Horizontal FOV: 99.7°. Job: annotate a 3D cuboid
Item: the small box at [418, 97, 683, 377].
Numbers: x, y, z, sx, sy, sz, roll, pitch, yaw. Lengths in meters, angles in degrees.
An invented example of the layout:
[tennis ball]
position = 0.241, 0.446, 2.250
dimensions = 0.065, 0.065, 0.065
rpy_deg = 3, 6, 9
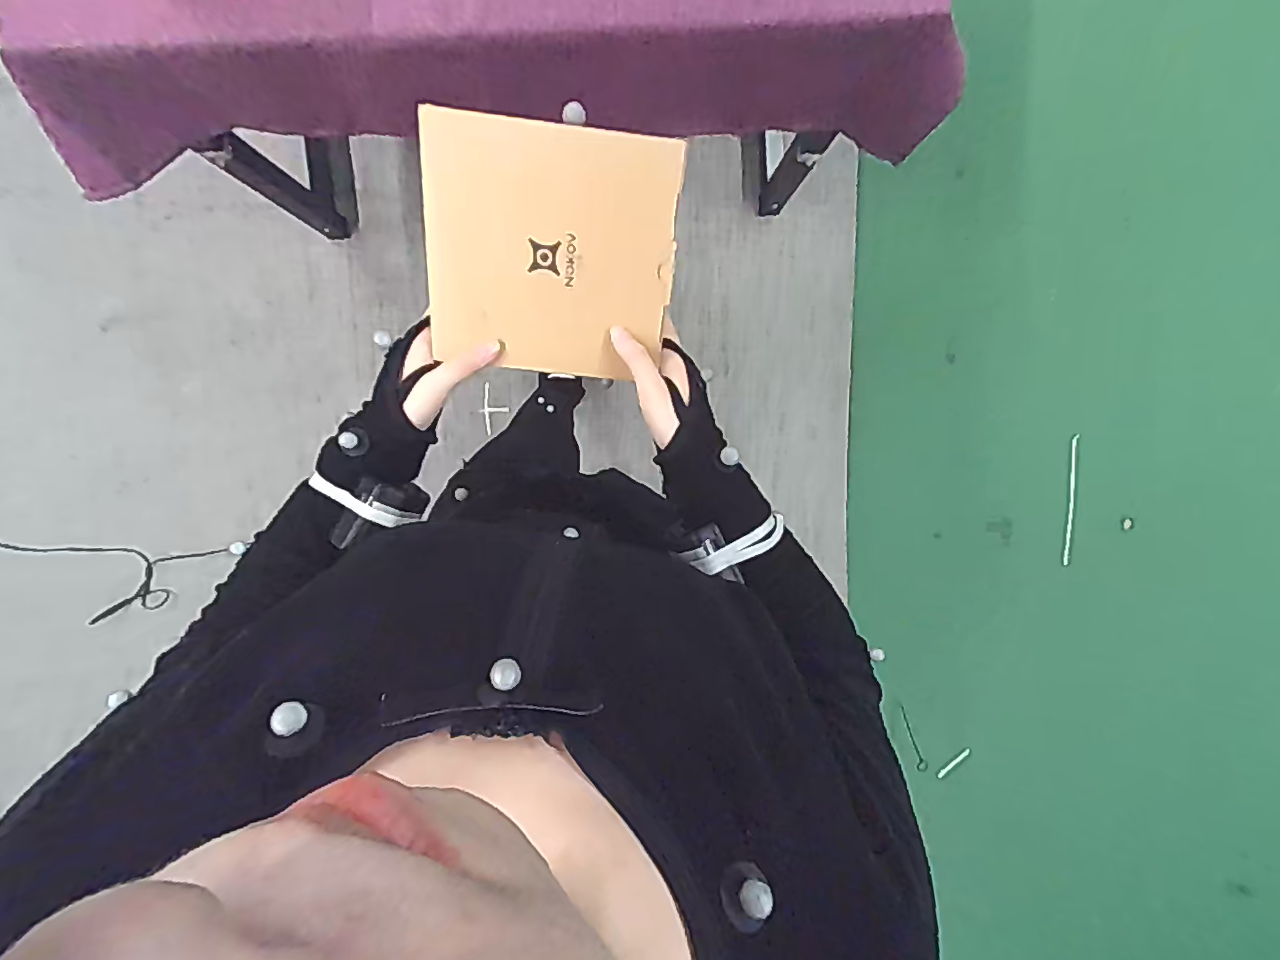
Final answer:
[small box]
position = -0.070, -0.196, 0.457
dimensions = 0.179, 0.176, 0.168
rpy_deg = 5, 115, -5
